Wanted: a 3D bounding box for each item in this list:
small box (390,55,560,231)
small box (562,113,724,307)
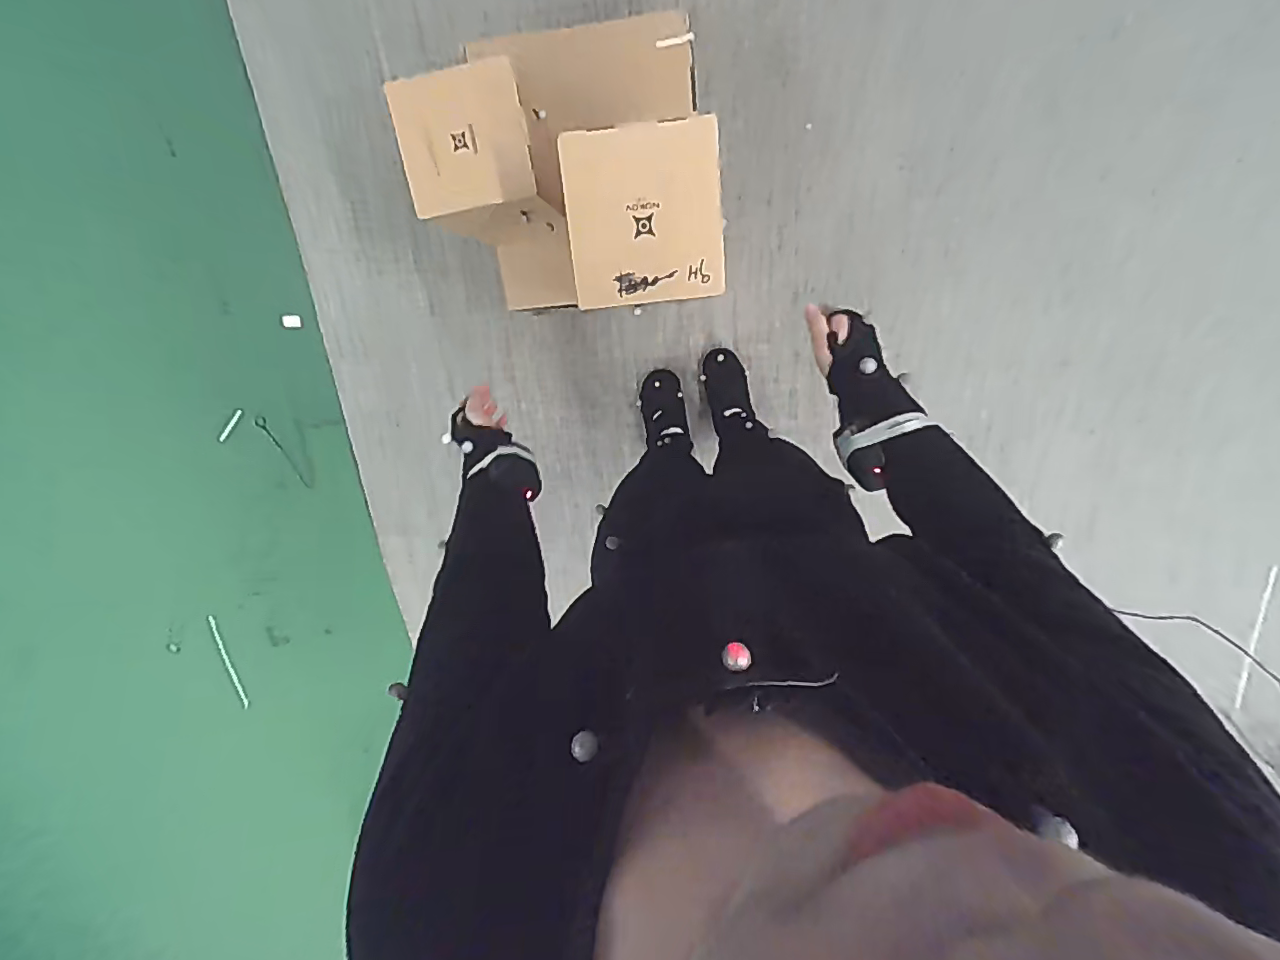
[{"bbox_3d":[-0.222,-0.472,0.786,0.179,0.176,0.168,-7,106,7],"label":"small box"},{"bbox_3d":[0.009,-0.305,0.648,0.168,0.176,0.179,-4,108,5],"label":"small box"}]
